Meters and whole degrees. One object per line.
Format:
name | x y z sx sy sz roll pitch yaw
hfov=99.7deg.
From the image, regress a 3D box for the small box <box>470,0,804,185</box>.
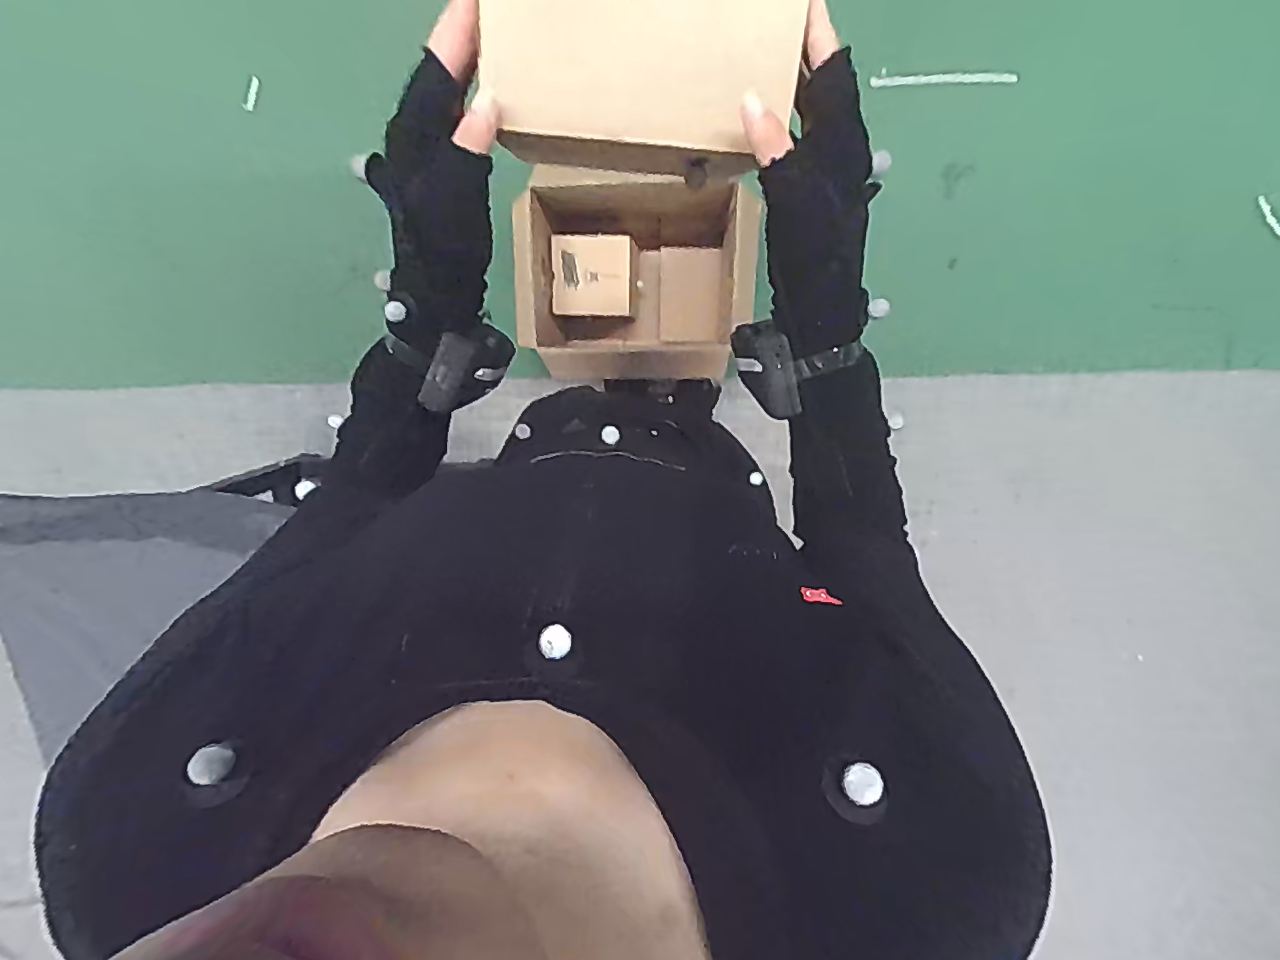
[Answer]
small box | -0.004 -0.292 0.345 0.179 0.176 0.168 2 113 -4
